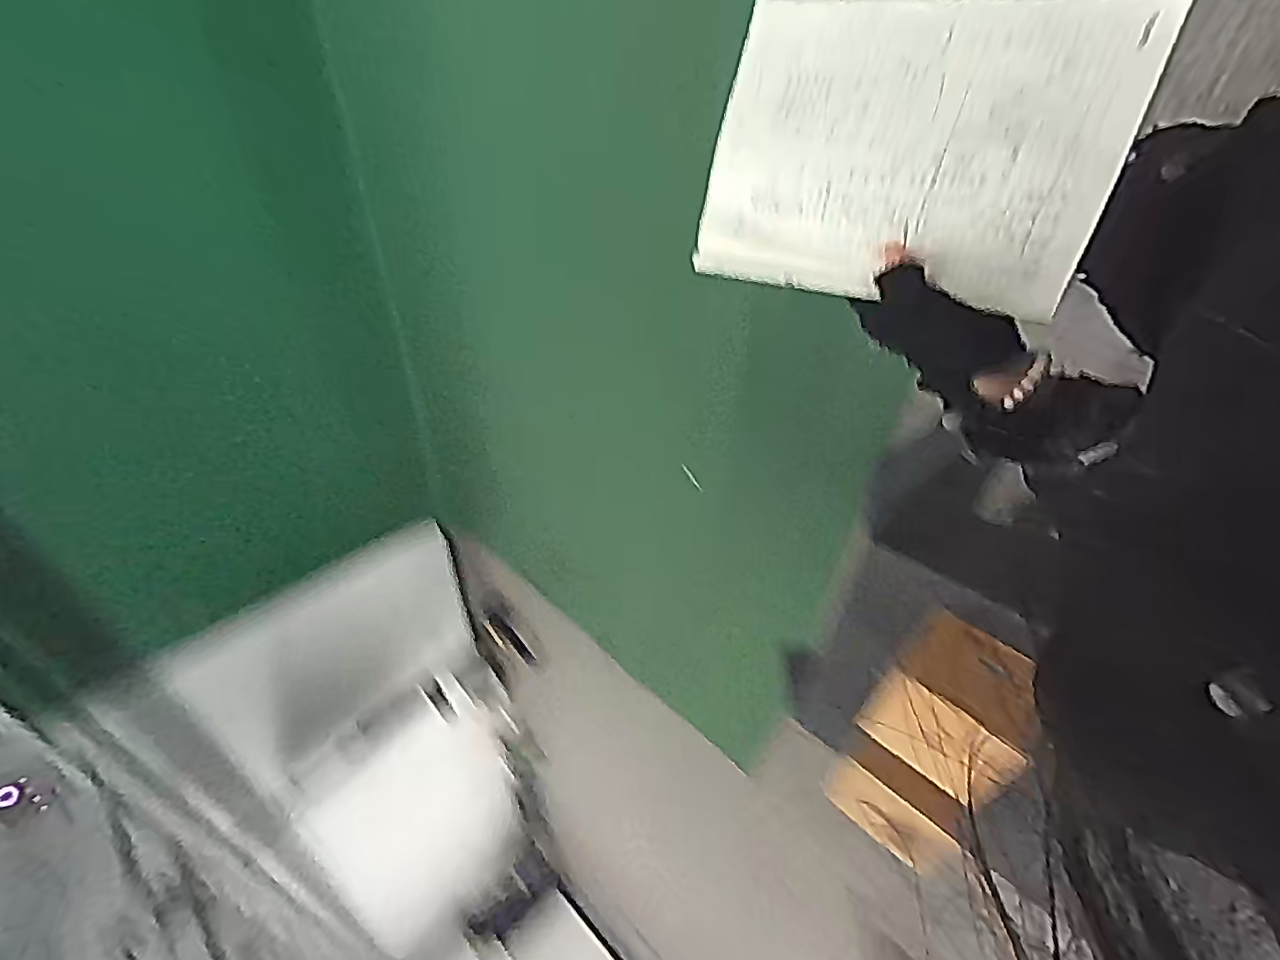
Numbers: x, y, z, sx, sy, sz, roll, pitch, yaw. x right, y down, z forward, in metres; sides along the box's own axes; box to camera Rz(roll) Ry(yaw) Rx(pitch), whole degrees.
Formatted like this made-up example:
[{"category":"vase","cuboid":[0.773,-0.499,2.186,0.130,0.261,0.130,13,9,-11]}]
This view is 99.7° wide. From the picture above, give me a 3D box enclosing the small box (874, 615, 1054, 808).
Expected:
[{"category":"small box","cuboid":[0.496,0.349,0.833,0.168,0.176,0.179,31,136,29]}]
